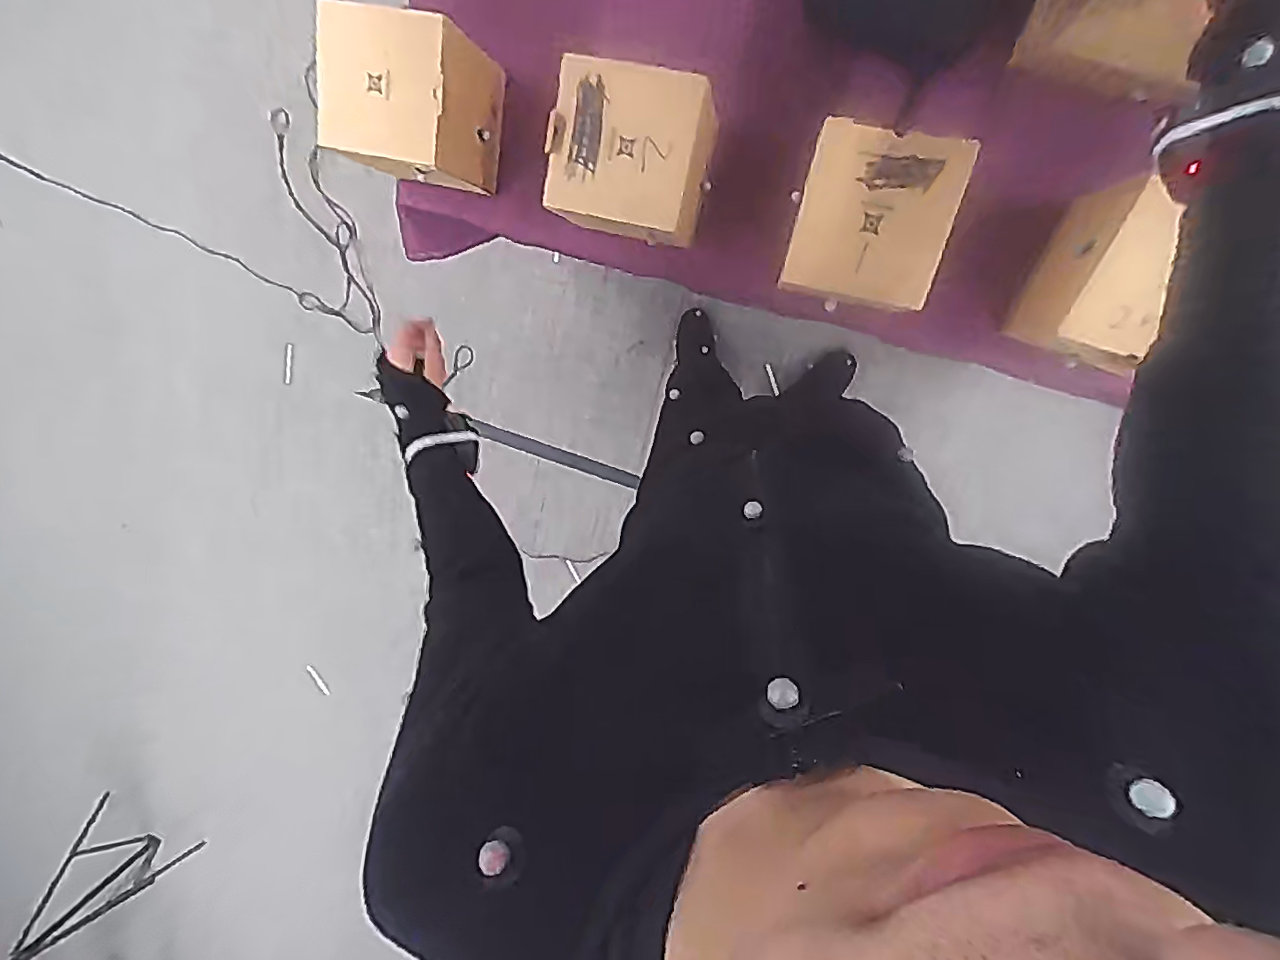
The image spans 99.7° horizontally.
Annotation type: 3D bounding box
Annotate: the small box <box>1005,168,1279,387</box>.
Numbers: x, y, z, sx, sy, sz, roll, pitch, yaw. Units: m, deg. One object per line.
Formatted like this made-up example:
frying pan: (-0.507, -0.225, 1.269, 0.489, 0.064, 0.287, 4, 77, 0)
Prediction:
small box: (0.577, -0.228, 0.637, 0.168, 0.176, 0.179, 23, 110, 7)

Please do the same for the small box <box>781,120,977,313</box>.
small box: (0.278, -0.316, 0.680, 0.168, 0.176, 0.179, 15, 110, 9)

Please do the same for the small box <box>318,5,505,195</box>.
small box: (-0.313, -0.514, 0.756, 0.179, 0.176, 0.168, 14, 109, 7)
